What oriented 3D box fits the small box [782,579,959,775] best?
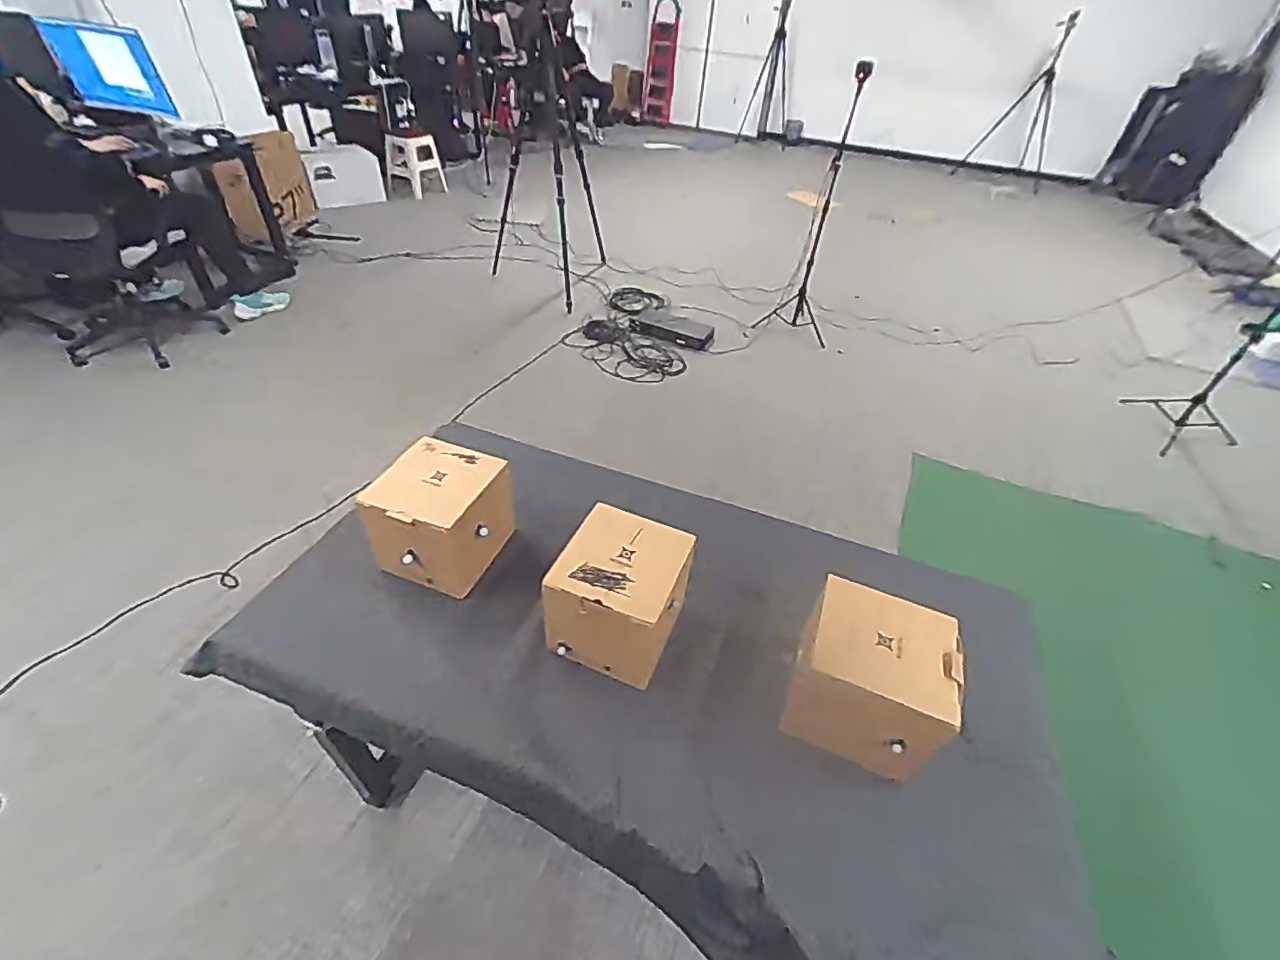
[{"bbox_3d":[0.312,0.274,0.747,0.179,0.176,0.168,16,41,16],"label":"small box"}]

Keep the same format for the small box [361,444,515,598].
[{"bbox_3d":[-0.326,0.071,0.919,0.168,0.176,0.179,16,43,12],"label":"small box"}]

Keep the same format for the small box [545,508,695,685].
[{"bbox_3d":[-0.027,0.178,0.824,0.168,0.176,0.179,18,42,15],"label":"small box"}]
